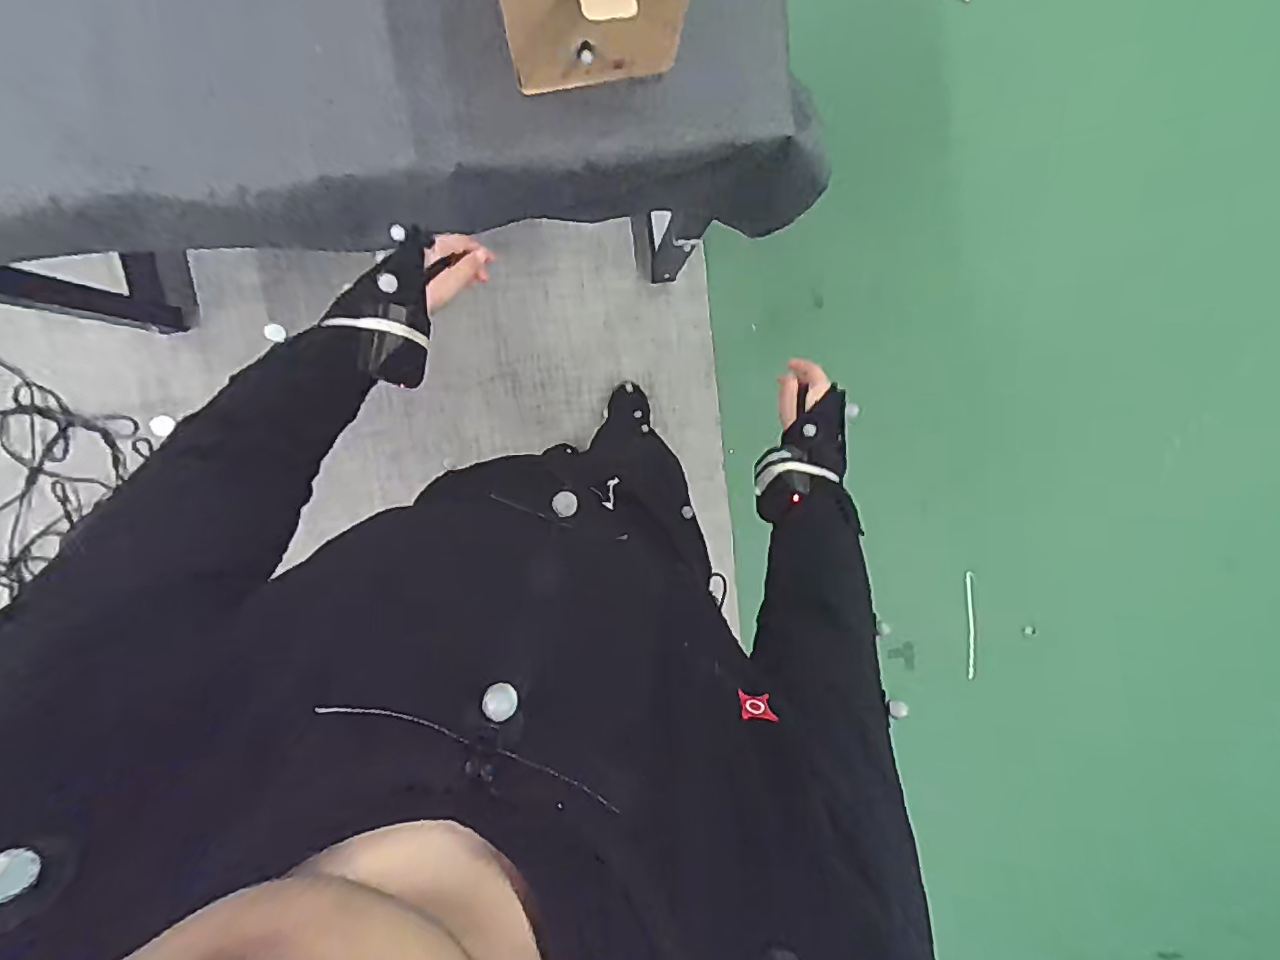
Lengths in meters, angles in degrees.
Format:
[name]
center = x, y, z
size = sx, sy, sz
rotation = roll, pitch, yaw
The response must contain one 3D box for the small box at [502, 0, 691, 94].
[small box]
center = -0.052, -0.497, 0.486
size = 0.168, 0.176, 0.179
rotation = -13, 98, -4
